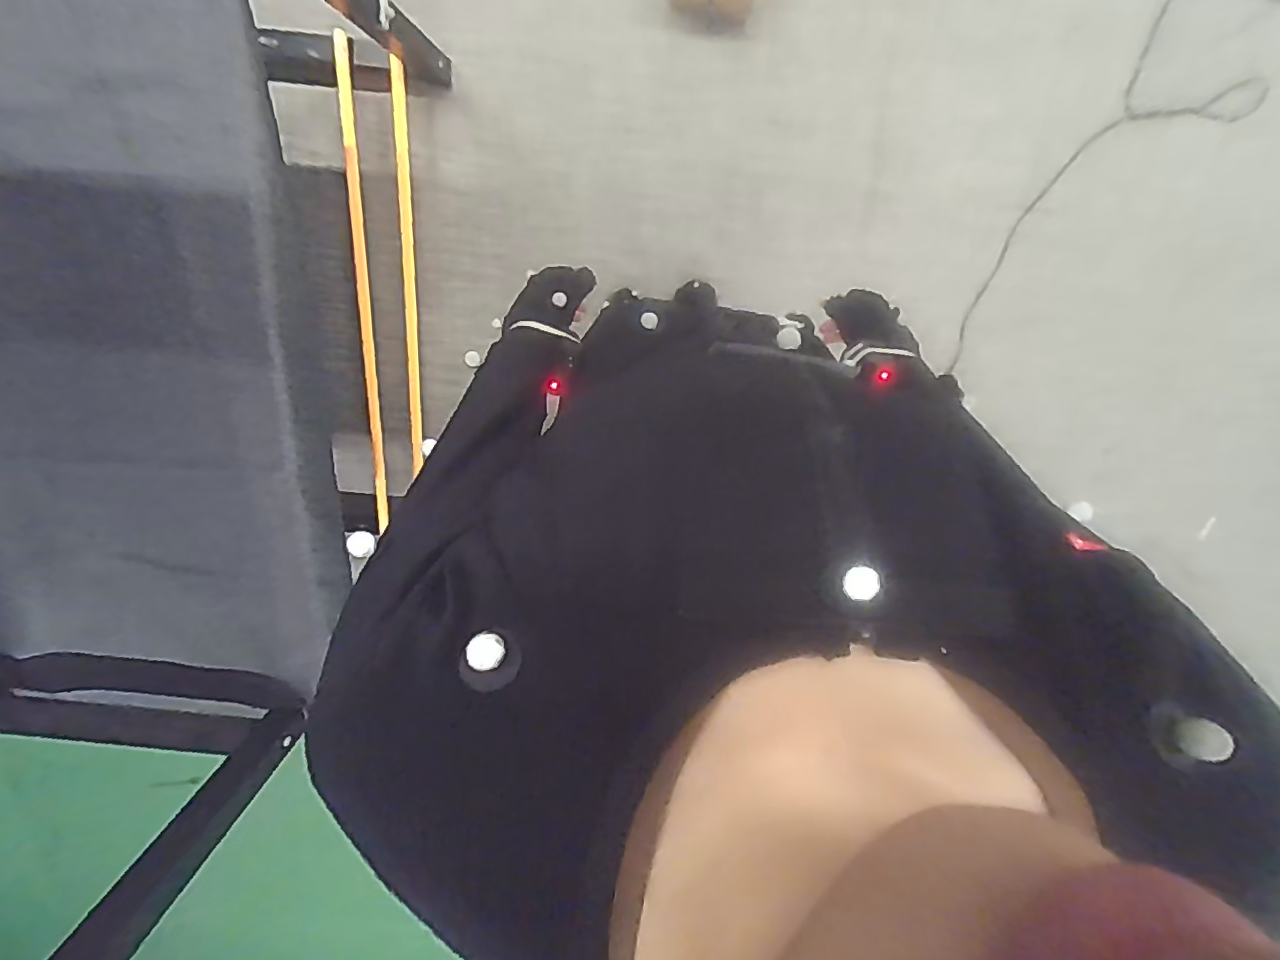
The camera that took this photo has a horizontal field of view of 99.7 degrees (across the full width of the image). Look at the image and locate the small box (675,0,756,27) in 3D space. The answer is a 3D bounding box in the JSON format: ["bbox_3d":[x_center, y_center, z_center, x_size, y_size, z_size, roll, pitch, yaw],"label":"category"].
[{"bbox_3d":[0.162,-1.030,1.044,0.168,0.176,0.179,12,112,-1],"label":"small box"}]
